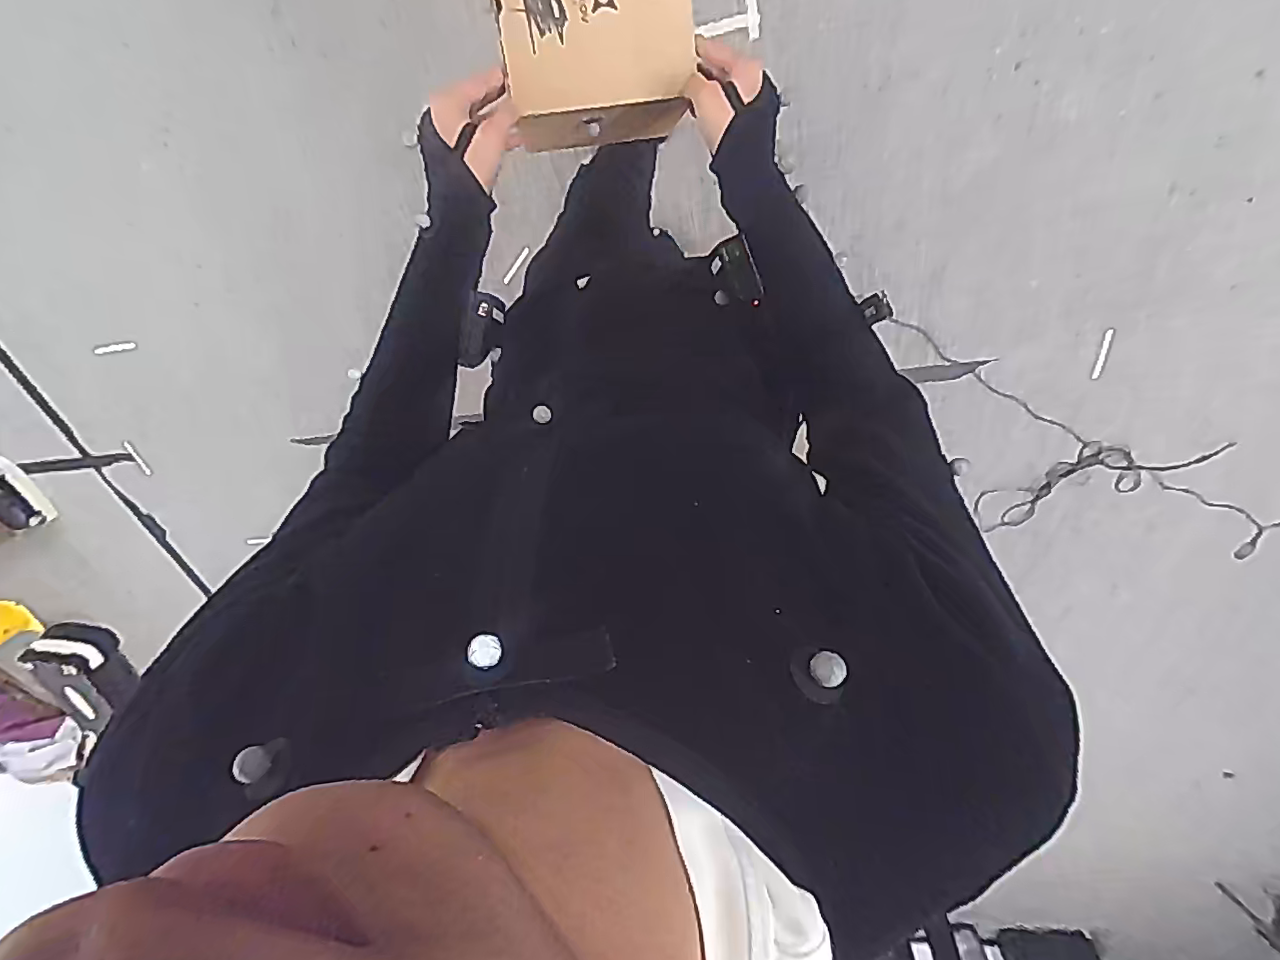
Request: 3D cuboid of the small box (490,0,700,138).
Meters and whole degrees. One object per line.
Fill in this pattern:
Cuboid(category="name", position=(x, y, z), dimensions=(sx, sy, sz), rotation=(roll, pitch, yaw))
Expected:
Cuboid(category="small box", position=(-0.050, -0.449, 0.524), dimensions=(0.179, 0.176, 0.168), rotation=(-10, 113, -4))
